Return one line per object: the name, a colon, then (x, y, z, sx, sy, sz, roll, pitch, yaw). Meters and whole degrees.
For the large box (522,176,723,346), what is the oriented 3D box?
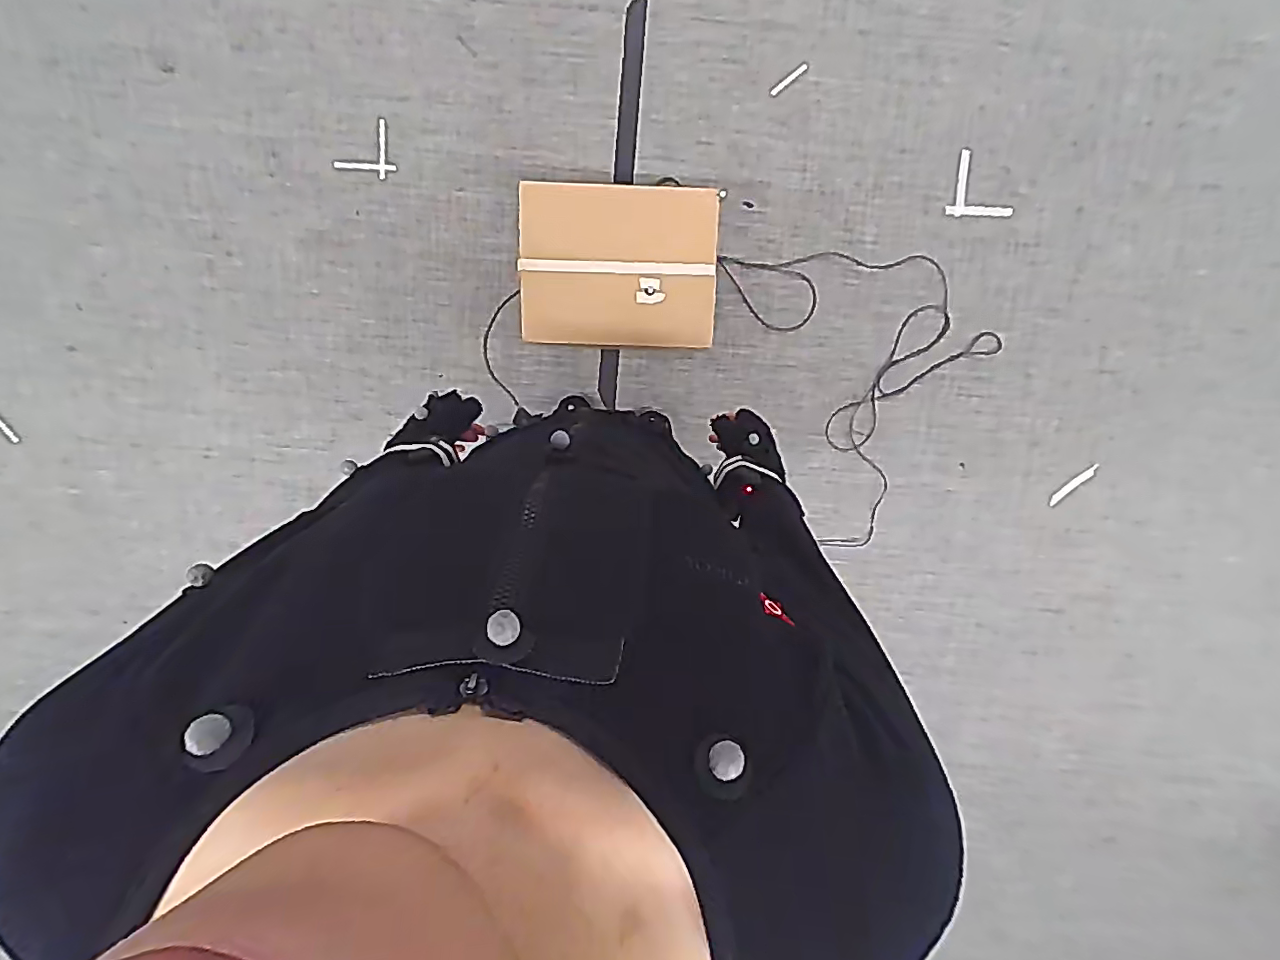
large box: (-0.042, -0.475, 1.243, 0.408, 0.320, 0.320, 1, 102, -2)
